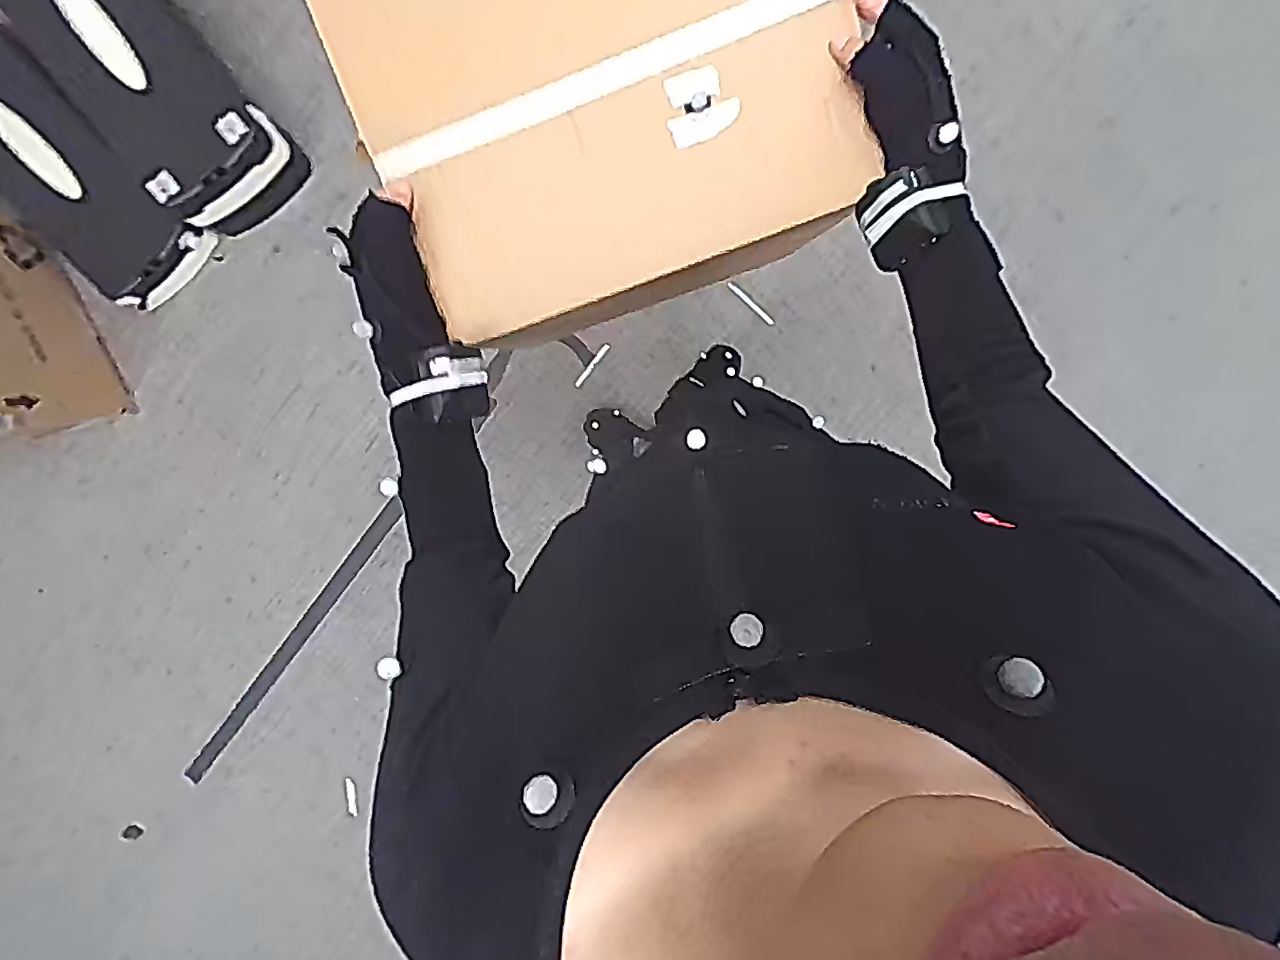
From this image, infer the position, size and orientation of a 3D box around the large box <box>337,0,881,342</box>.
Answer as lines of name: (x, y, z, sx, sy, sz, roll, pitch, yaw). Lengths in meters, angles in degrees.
large box: (-0.022, -0.370, 0.605, 0.408, 0.320, 0.320, -18, 104, 4)
